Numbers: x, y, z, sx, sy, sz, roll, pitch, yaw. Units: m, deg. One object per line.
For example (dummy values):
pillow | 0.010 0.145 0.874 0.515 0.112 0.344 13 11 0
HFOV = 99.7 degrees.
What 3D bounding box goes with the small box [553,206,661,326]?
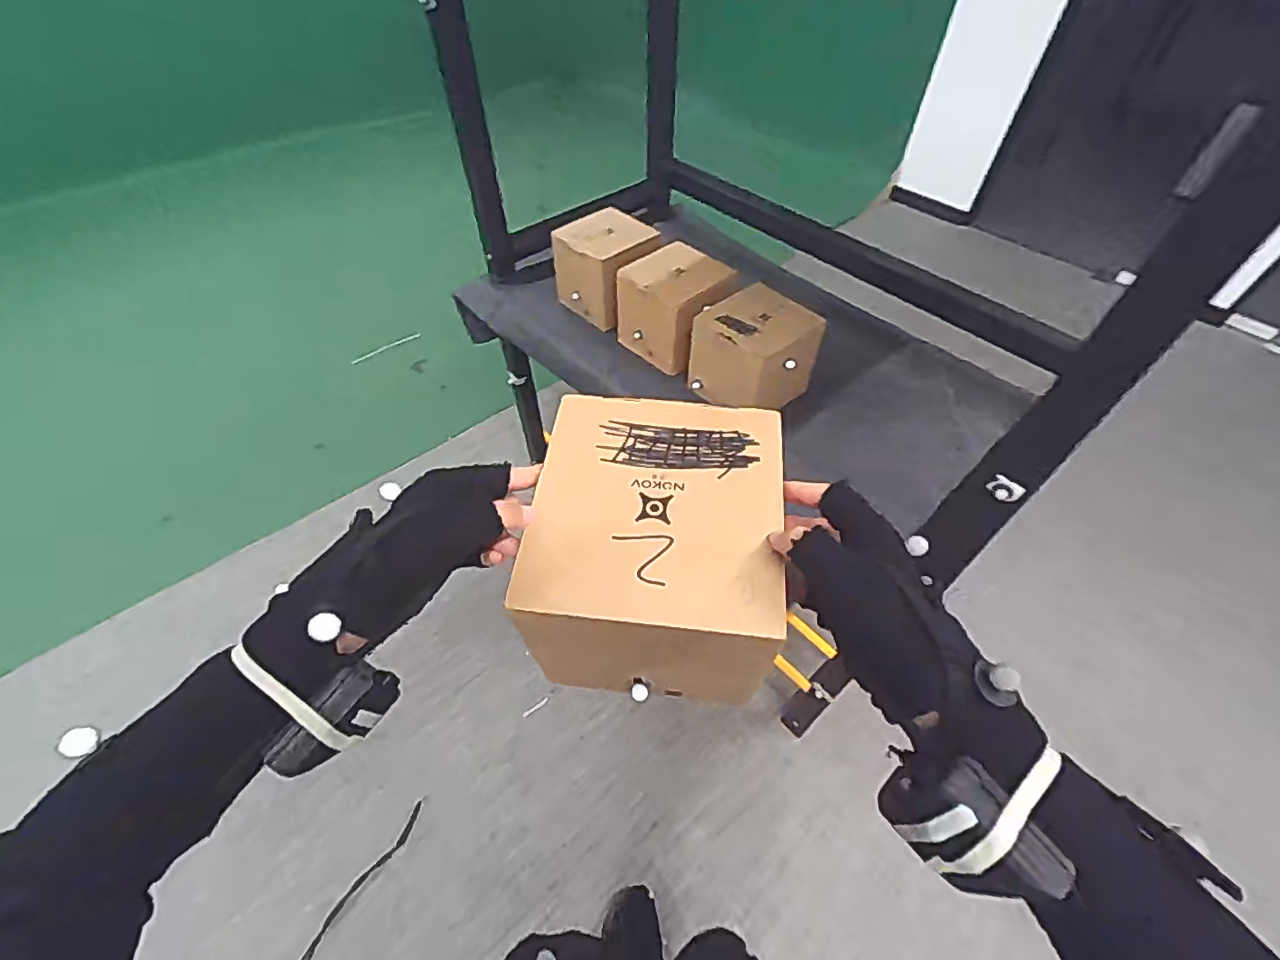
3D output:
small box | -0.074 -0.478 1.211 0.179 0.176 0.168 -36 60 -26
